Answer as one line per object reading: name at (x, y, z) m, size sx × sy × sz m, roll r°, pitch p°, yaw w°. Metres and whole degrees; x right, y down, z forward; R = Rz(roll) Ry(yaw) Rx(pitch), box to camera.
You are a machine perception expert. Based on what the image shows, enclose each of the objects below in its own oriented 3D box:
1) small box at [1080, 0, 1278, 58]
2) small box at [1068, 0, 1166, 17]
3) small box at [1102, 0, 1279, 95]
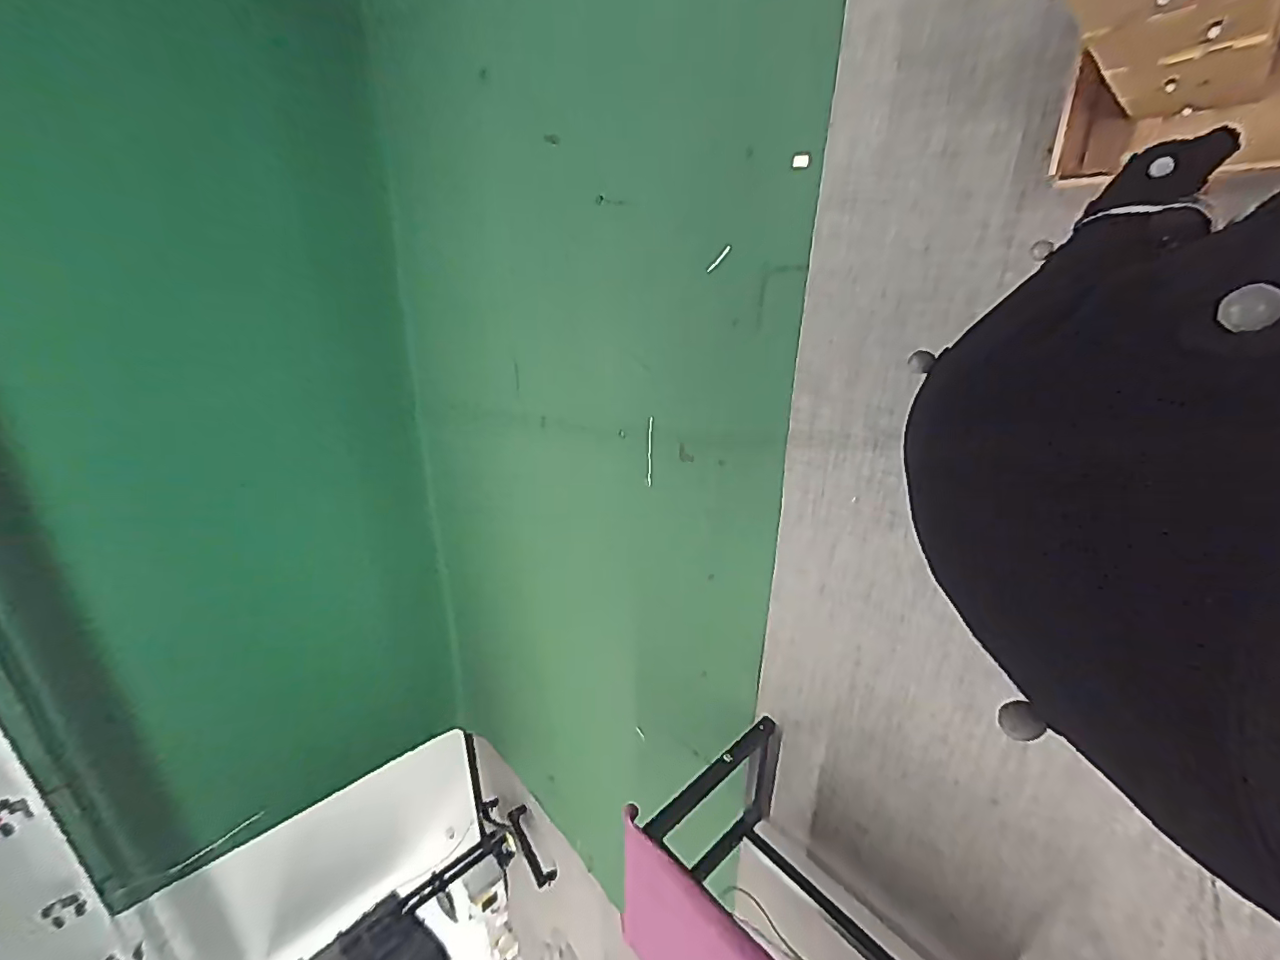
small box at (0.659, -0.633, 0.640) m, size 0.168 × 0.176 × 0.179 m, roll 18°, pitch 117°, yaw 42°
small box at (0.542, -0.597, 0.531) m, size 0.168 × 0.176 × 0.179 m, roll 17°, pitch 117°, yaw 42°
small box at (0.778, -0.667, 0.747) m, size 0.168 × 0.176 × 0.179 m, roll 20°, pitch 119°, yaw 42°
